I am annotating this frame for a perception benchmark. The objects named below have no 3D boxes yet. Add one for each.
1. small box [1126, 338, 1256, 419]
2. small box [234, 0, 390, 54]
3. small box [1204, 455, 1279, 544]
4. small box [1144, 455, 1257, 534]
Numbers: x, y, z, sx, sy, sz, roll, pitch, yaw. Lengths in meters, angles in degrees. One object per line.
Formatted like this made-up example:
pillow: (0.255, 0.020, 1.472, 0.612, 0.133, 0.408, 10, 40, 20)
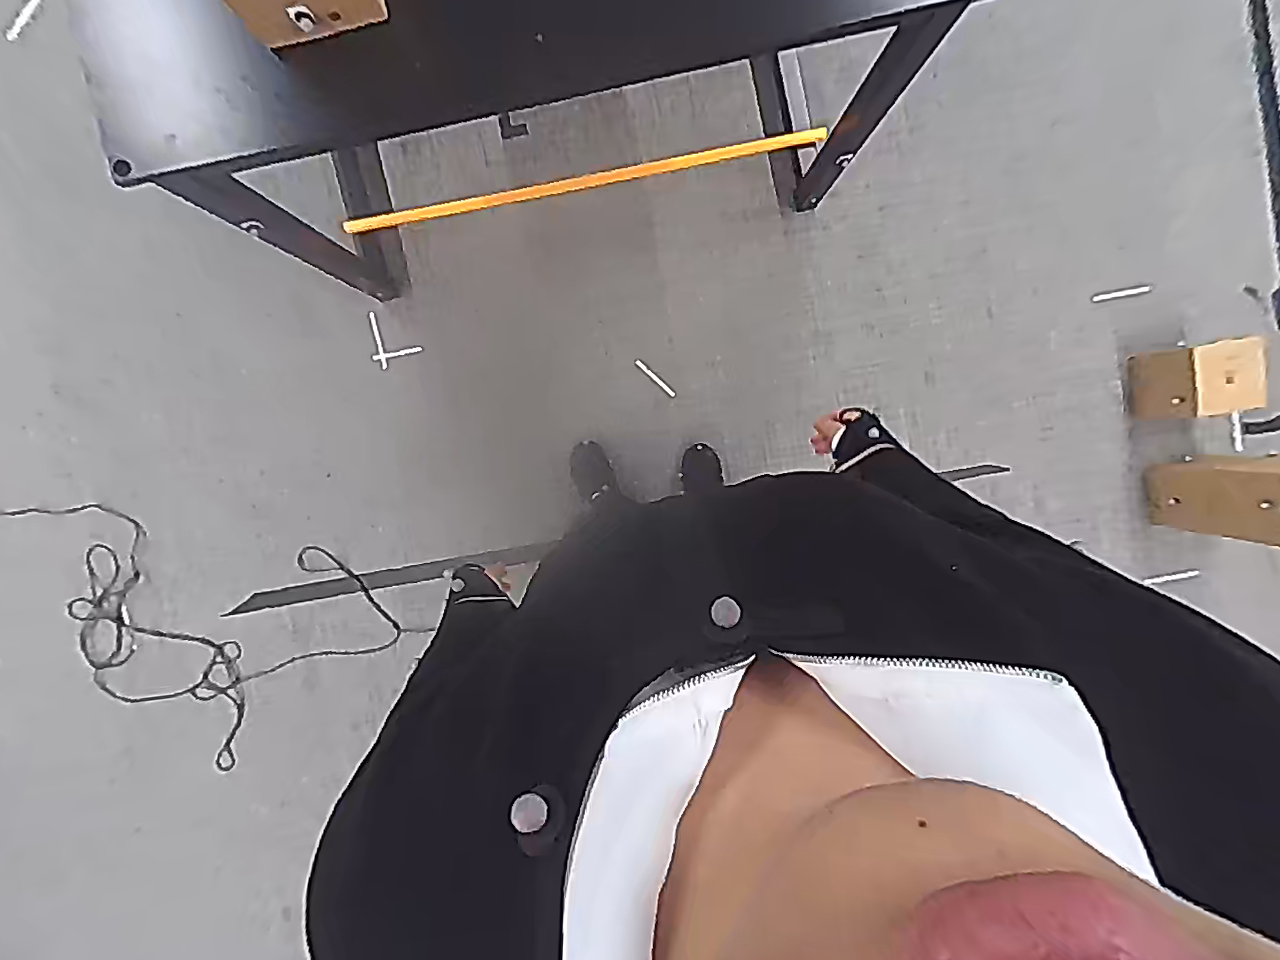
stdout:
small box: (1.414, -0.256, 1.398, 0.168, 0.176, 0.179, -10, 94, 0)
small box: (-0.428, -0.663, 0.635, 0.168, 0.176, 0.179, -15, 95, 2)
small box: (1.480, 0.041, 1.259, 0.168, 0.176, 0.179, -14, 96, 1)
small box: (1.484, 0.033, 1.425, 0.179, 0.176, 0.168, -14, 95, 2)
